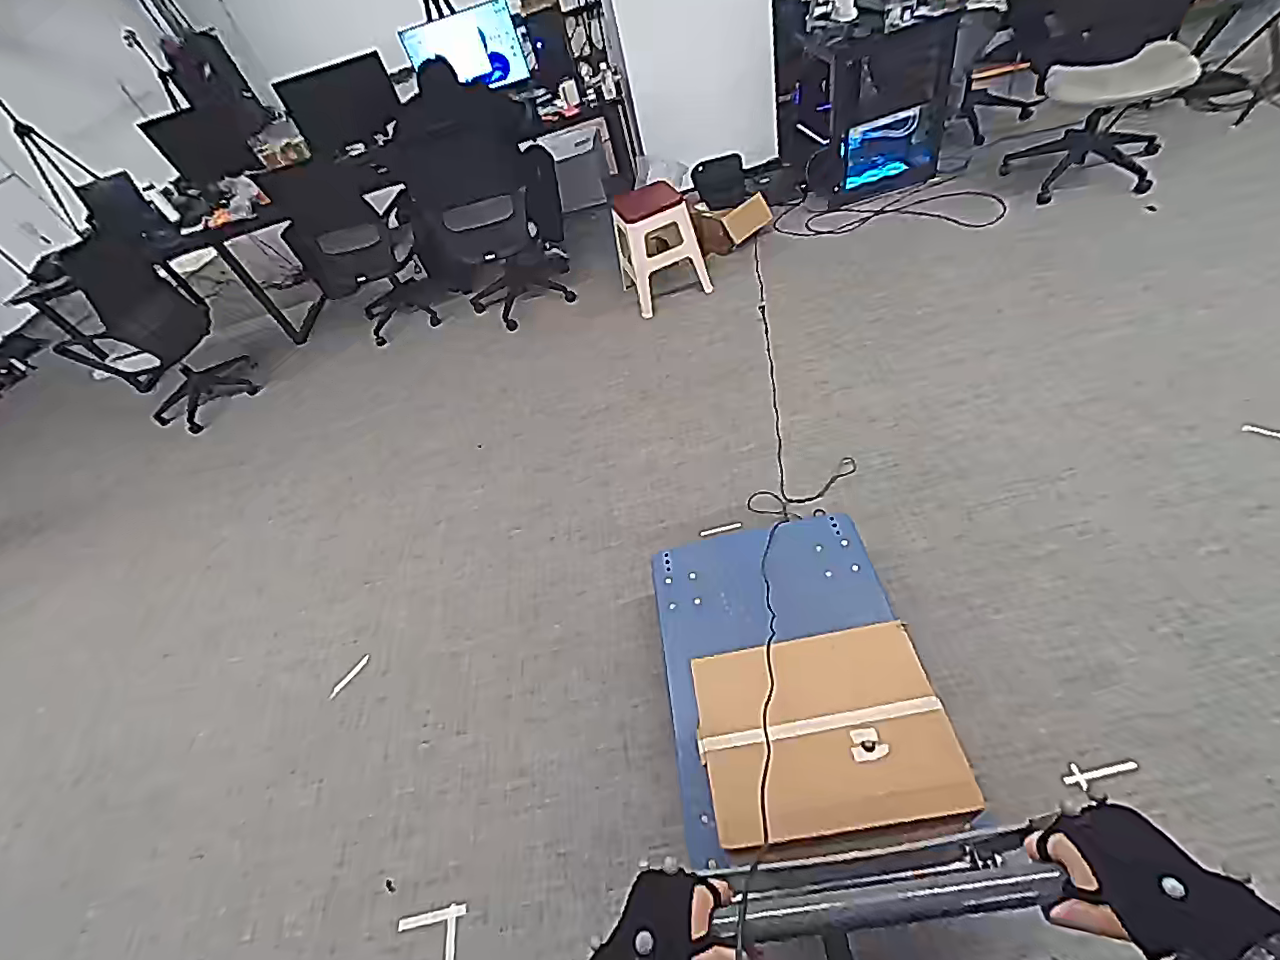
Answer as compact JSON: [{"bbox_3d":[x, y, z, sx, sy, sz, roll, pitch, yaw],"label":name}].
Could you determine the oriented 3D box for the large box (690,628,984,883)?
[{"bbox_3d":[0.334,0.527,1.021,0.408,0.320,0.320,-13,48,6],"label":"large box"}]
